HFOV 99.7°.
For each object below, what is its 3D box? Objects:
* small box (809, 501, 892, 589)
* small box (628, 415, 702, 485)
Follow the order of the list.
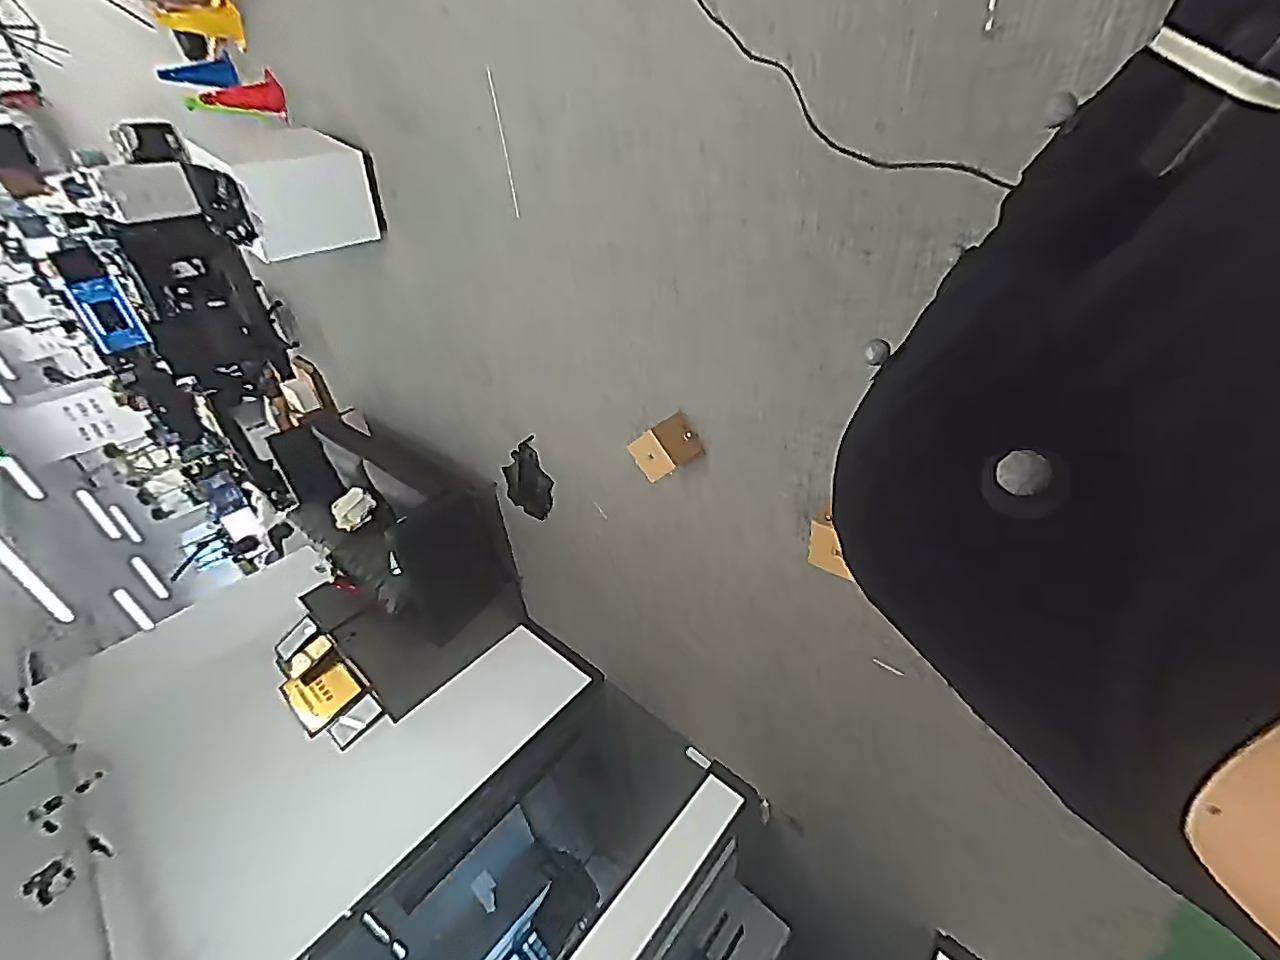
[{"bbox_3d":[0.625,0.184,1.604,0.179,0.176,0.168,22,132,39],"label":"small box"},{"bbox_3d":[0.096,-0.110,1.986,0.168,0.176,0.179,55,144,-1],"label":"small box"}]
